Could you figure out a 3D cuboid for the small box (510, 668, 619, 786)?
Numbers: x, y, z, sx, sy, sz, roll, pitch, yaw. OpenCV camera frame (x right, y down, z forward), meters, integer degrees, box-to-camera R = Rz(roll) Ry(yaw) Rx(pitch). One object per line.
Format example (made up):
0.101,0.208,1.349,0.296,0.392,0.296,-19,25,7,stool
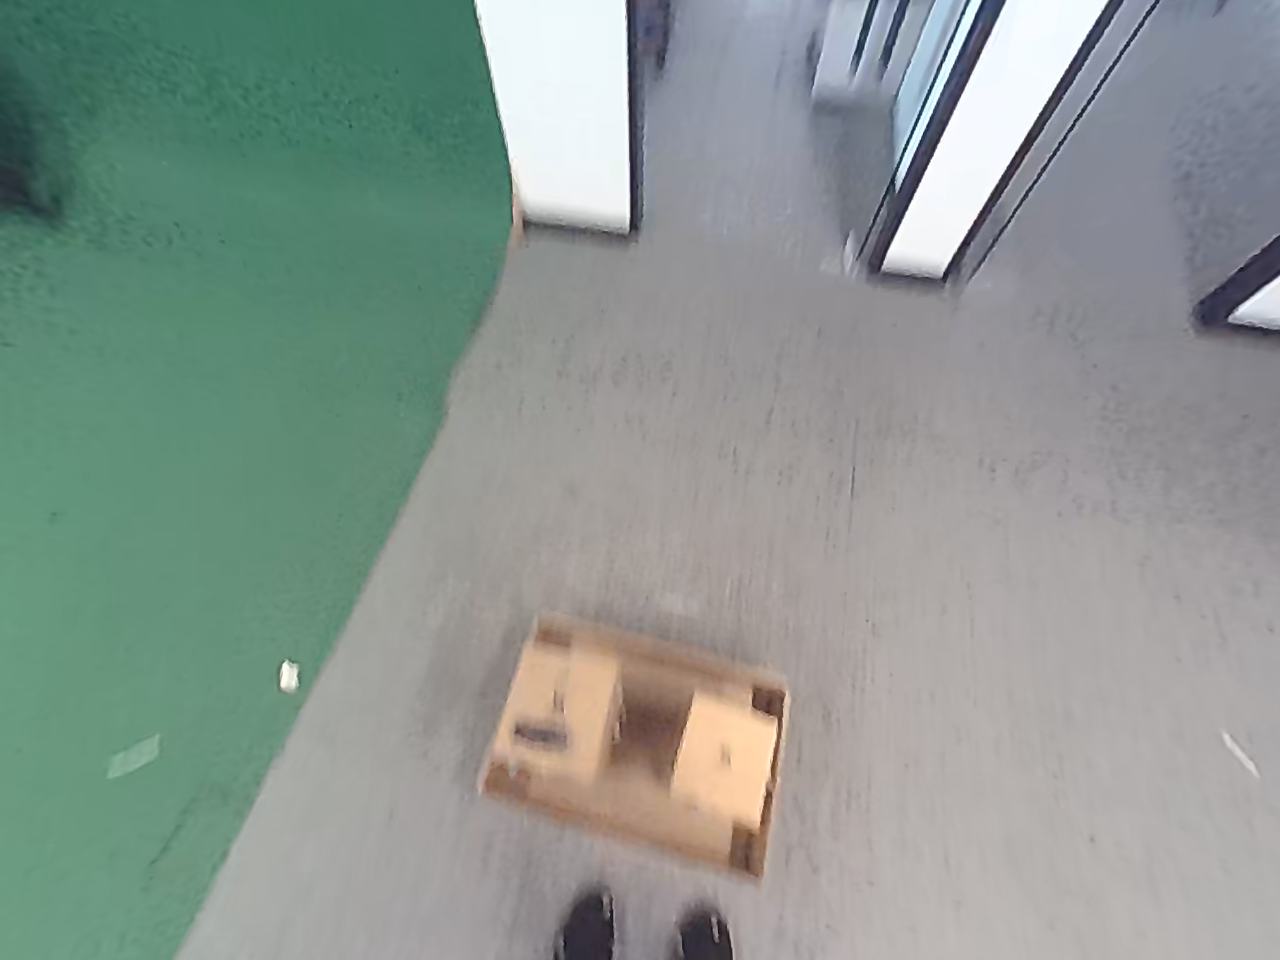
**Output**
-0.141,0.500,1.088,0.168,0.176,0.179,11,61,7,small box

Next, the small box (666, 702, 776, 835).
0.152,0.559,1.059,0.168,0.176,0.179,17,64,8,small box
